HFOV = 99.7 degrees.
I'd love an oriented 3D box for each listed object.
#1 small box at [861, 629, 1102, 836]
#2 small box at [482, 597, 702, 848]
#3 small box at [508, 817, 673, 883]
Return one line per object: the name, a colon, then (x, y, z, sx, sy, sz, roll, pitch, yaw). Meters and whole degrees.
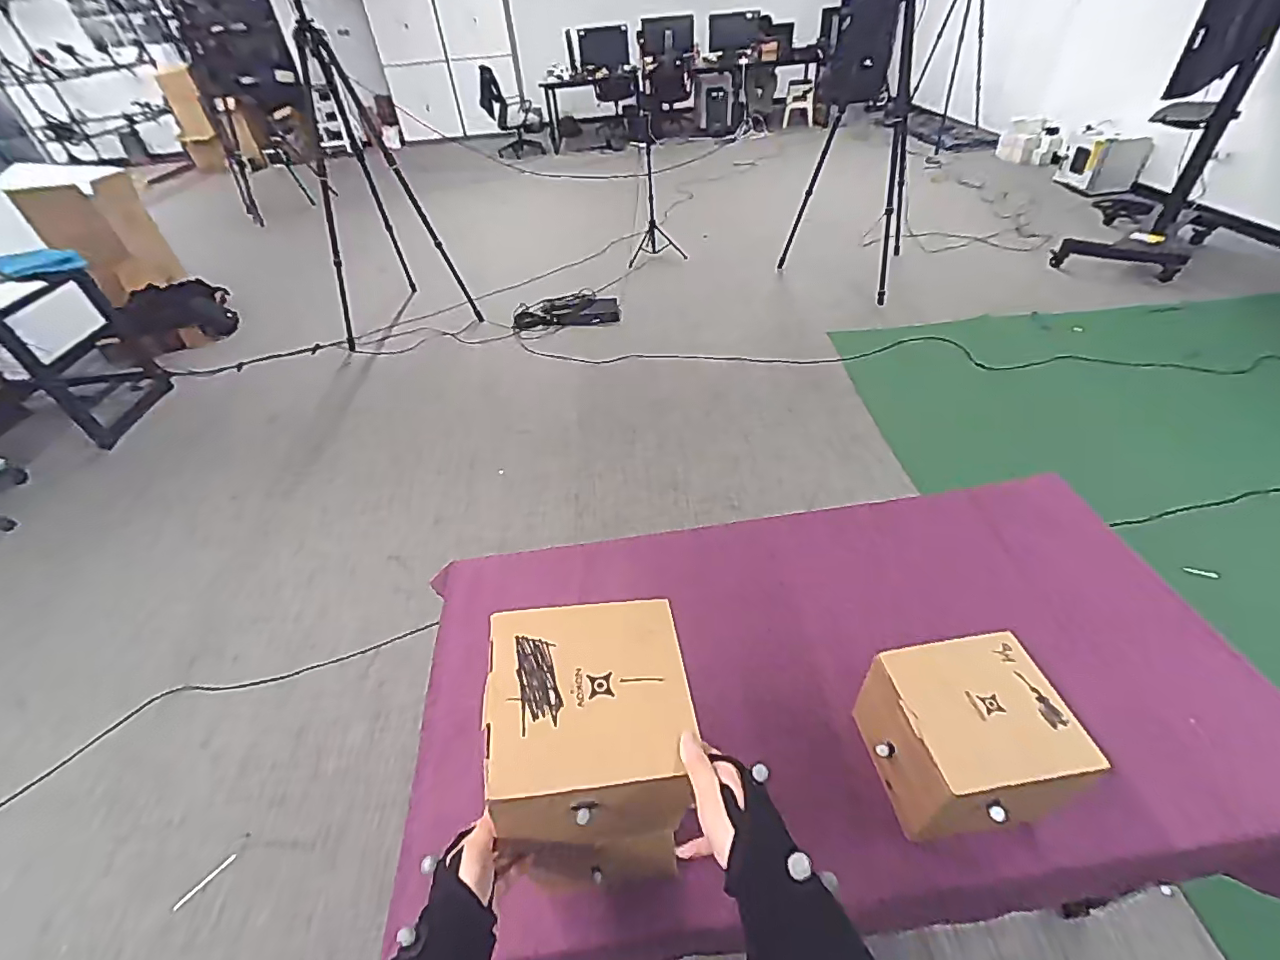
small box: (0.390, 0.311, 0.663, 0.179, 0.176, 0.168, -9, 42, -2)
small box: (-0.053, 0.236, 0.530, 0.179, 0.176, 0.168, -2, 44, -11)
small box: (-0.054, 0.364, 0.657, 0.168, 0.176, 0.179, -7, 42, -2)
